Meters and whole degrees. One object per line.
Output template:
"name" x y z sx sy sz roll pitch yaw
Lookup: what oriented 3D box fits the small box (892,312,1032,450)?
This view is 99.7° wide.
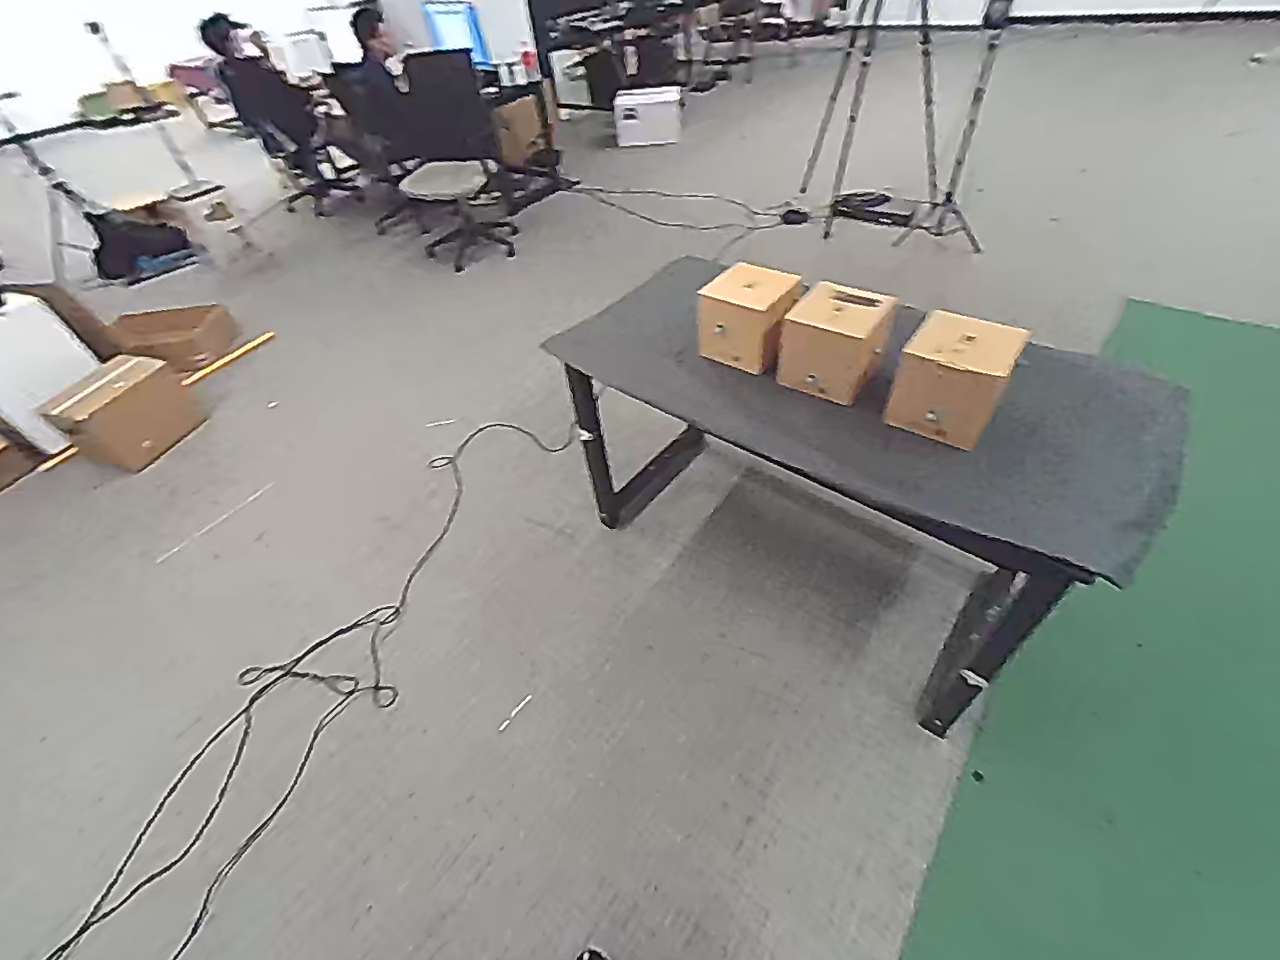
"small box" 0.606 -0.190 1.035 0.168 0.176 0.179 27 55 30
